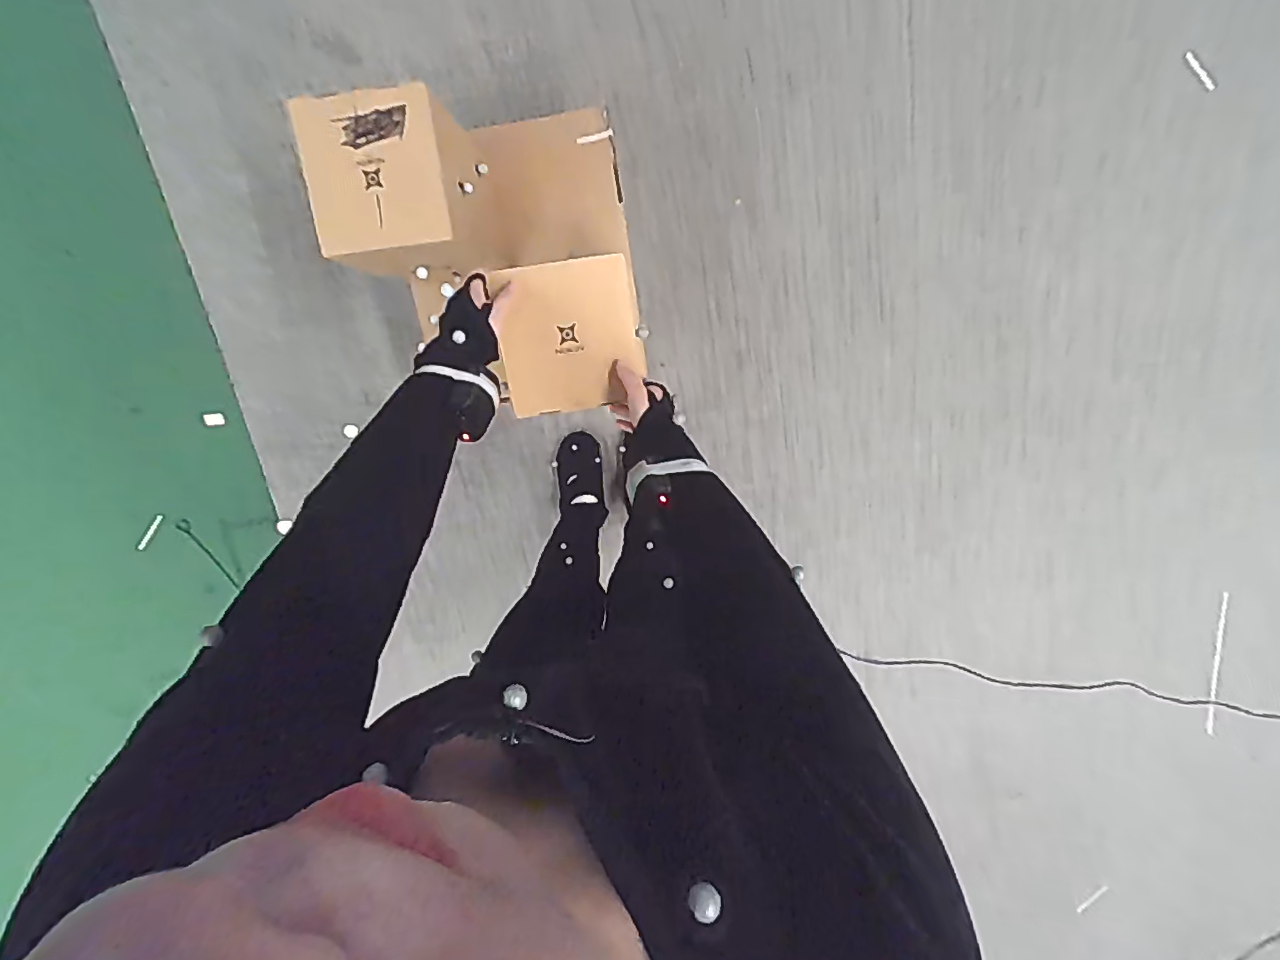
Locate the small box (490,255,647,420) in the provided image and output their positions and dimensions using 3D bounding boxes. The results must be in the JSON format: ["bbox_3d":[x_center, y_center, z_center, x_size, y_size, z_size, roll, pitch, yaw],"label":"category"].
[{"bbox_3d":[-0.089,-0.192,0.727,0.168,0.176,0.179,-10,108,-1],"label":"small box"}]

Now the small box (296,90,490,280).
[{"bbox_3d":[-0.314,-0.380,0.726,0.168,0.176,0.179,-6,102,2],"label":"small box"}]

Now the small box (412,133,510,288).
[{"bbox_3d":[-0.324,-0.428,0.884,0.168,0.176,0.179,-9,102,2],"label":"small box"}]
